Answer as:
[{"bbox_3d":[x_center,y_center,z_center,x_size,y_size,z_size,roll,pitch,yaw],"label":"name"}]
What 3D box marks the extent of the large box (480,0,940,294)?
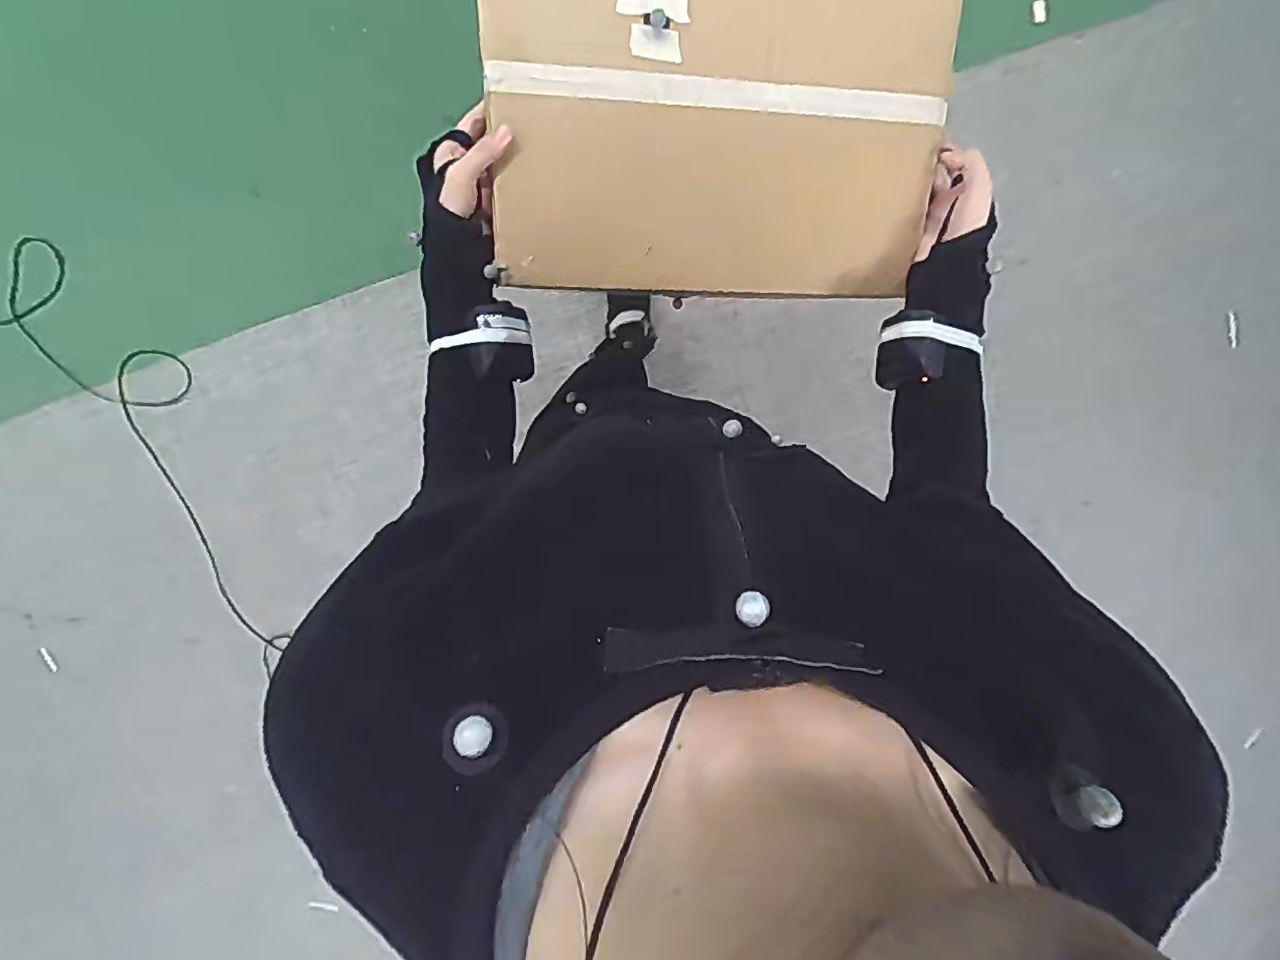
[{"bbox_3d":[0.048,-0.381,0.618,0.408,0.320,0.320,-2,108,-8],"label":"large box"}]
